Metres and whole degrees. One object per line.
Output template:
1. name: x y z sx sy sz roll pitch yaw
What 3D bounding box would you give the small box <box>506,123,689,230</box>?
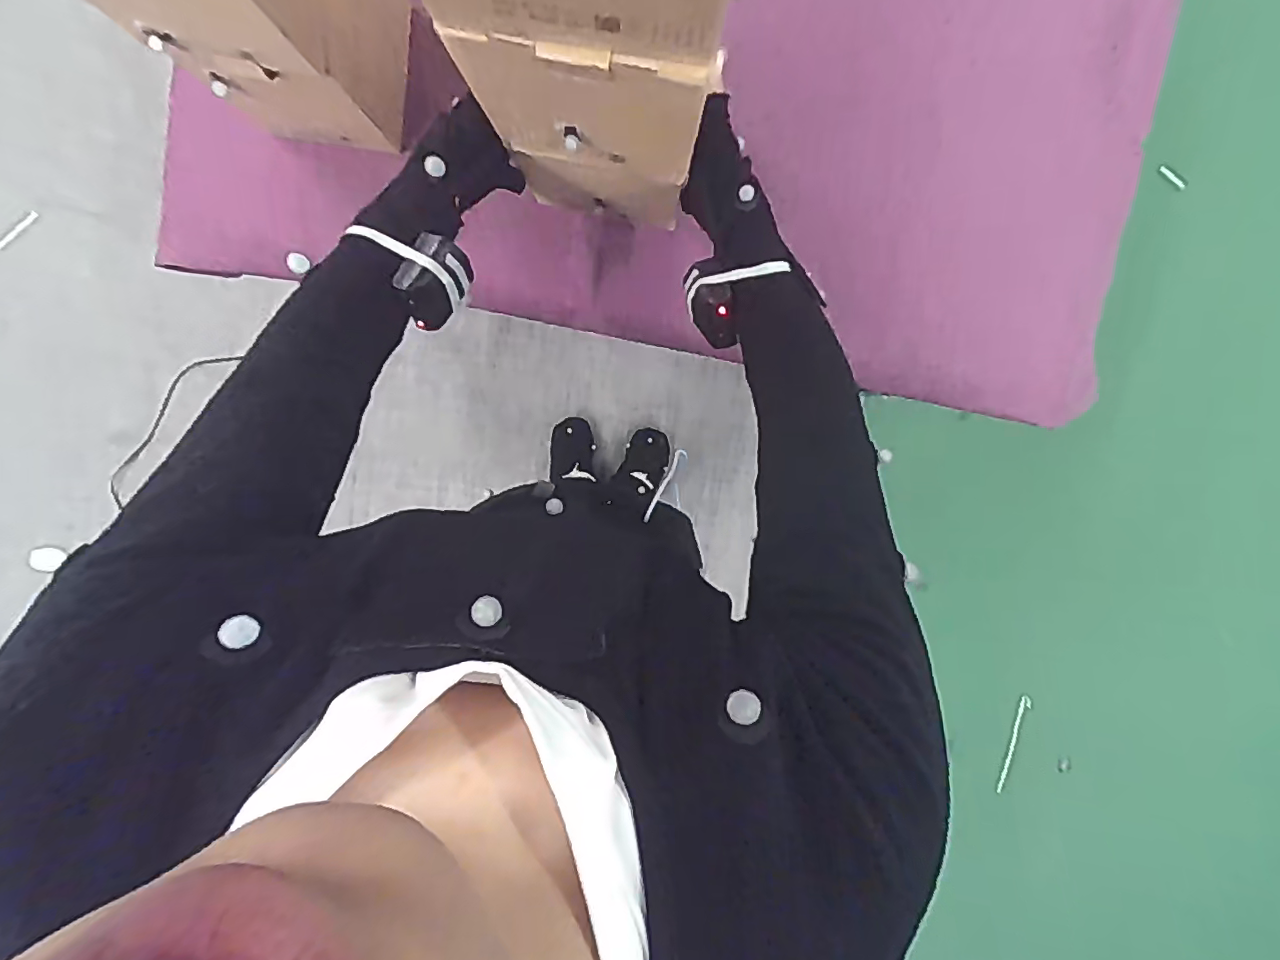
1. small box: -0.022 -0.376 0.541 0.168 0.176 0.179 12 102 -2

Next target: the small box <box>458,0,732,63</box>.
1. small box: -0.022 -0.317 0.220 0.168 0.176 0.179 8 102 -3

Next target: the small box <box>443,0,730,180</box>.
1. small box: -0.021 -0.345 0.381 0.168 0.176 0.179 10 102 -2

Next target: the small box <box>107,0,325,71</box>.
1. small box: -0.359 -0.463 0.412 0.168 0.176 0.179 11 98 -5
